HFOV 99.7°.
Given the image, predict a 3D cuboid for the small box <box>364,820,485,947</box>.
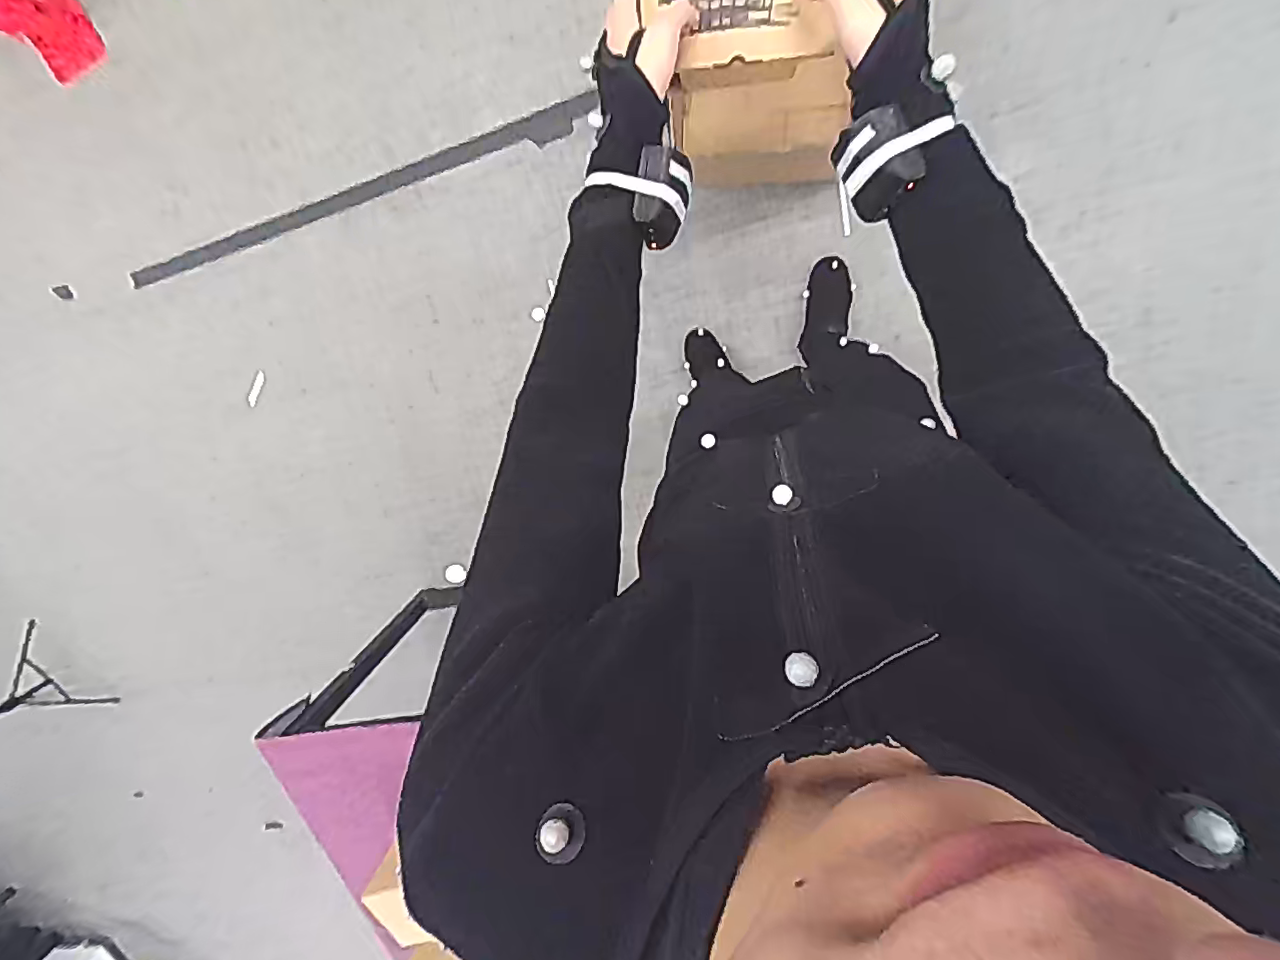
[{"bbox_3d":[-0.487,0.933,1.261,0.179,0.176,0.168,-24,104,17],"label":"small box"}]
